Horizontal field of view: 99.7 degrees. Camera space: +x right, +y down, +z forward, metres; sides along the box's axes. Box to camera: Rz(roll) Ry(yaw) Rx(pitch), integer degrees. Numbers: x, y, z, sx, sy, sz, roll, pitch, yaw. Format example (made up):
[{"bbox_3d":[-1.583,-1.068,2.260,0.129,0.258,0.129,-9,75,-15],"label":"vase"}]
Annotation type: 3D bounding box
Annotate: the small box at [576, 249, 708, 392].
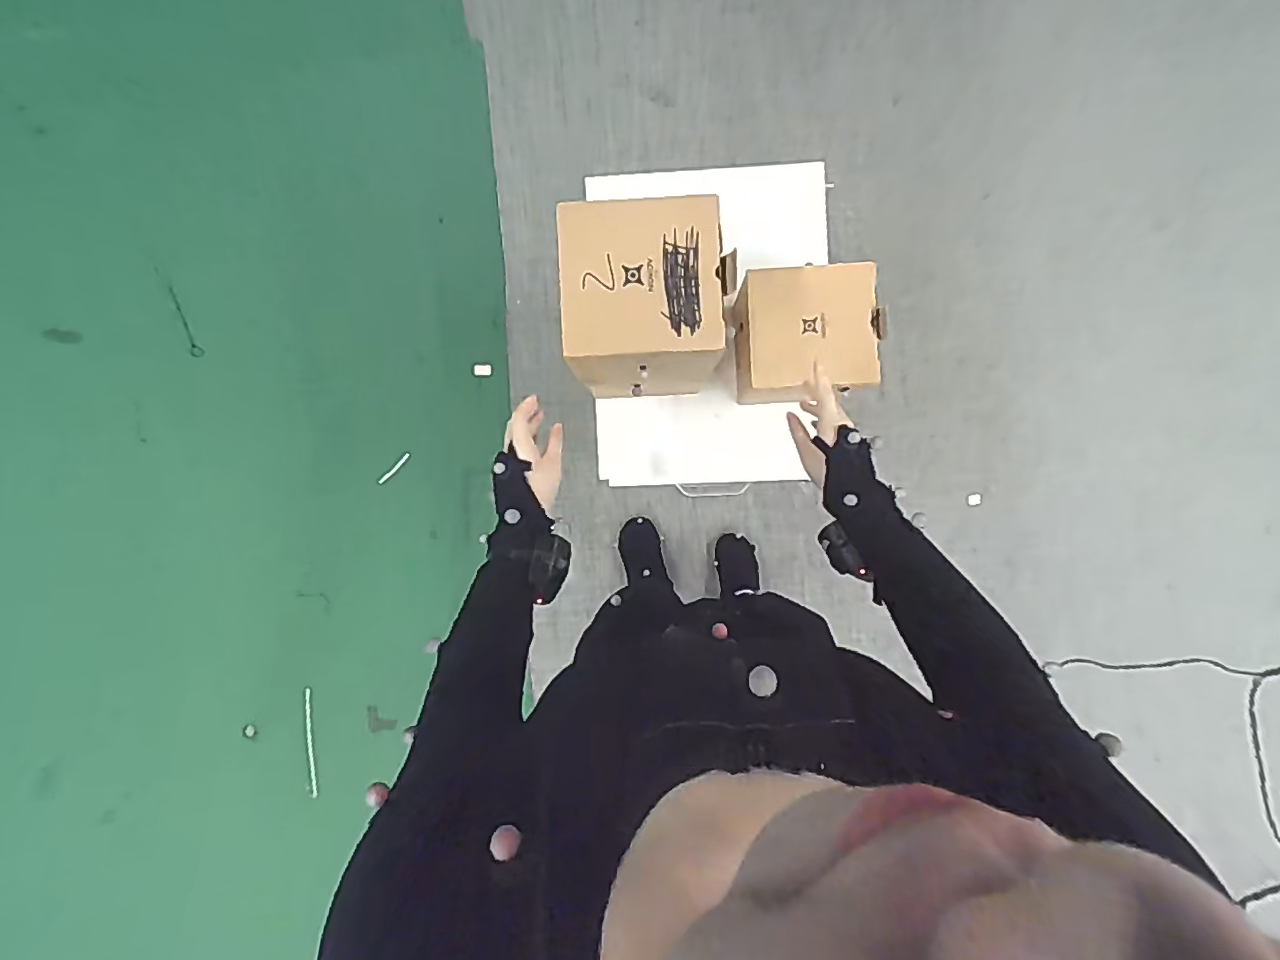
[{"bbox_3d":[0.007,-0.229,0.813,0.179,0.176,0.168,-3,92,2],"label":"small box"}]
